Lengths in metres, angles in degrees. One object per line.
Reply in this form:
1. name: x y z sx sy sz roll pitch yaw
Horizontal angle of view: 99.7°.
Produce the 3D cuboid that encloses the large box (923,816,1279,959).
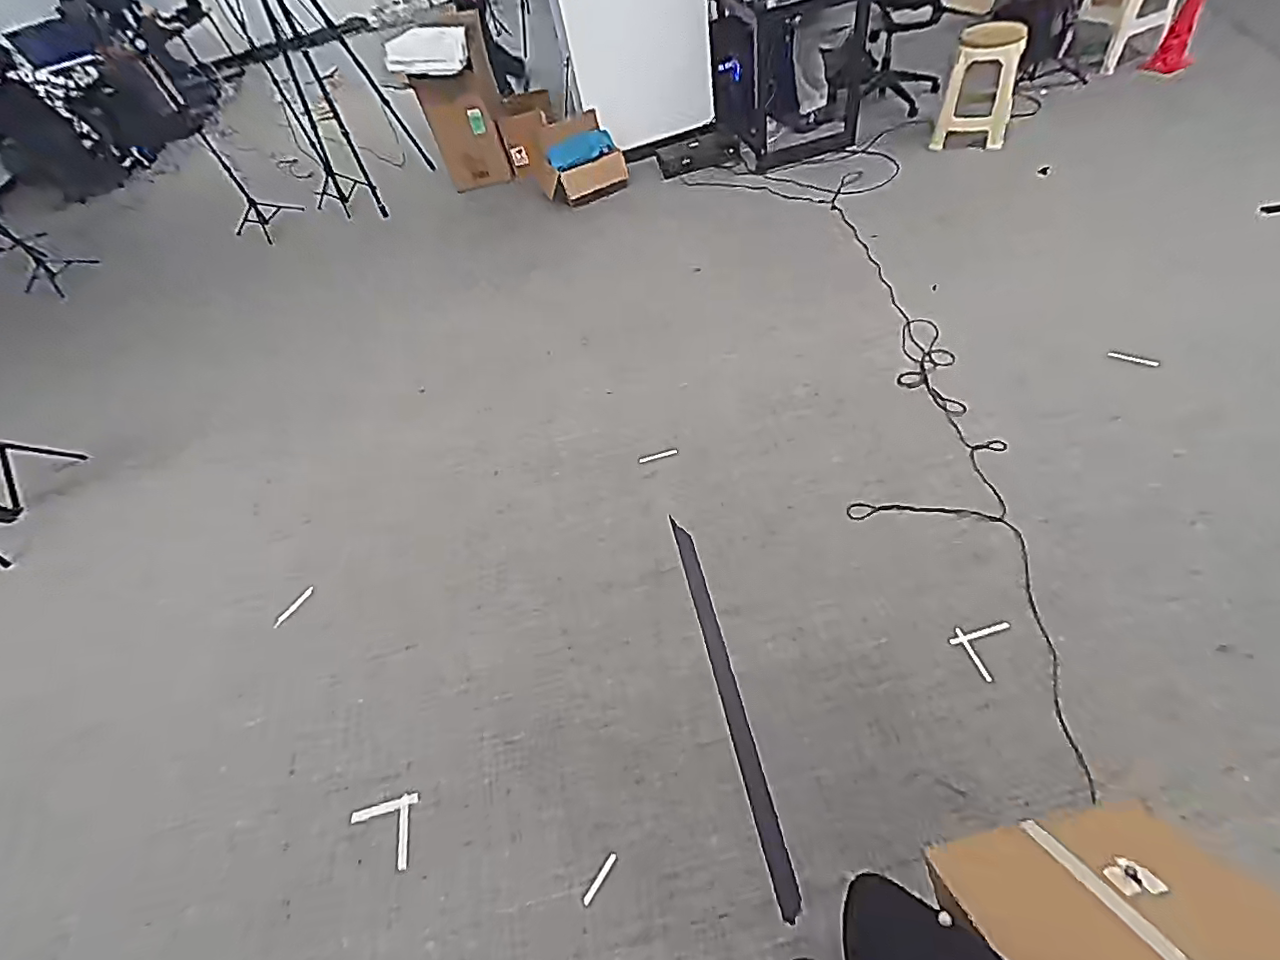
1. large box: 0.596 0.663 0.593 0.320 0.408 0.320 -13 85 2
